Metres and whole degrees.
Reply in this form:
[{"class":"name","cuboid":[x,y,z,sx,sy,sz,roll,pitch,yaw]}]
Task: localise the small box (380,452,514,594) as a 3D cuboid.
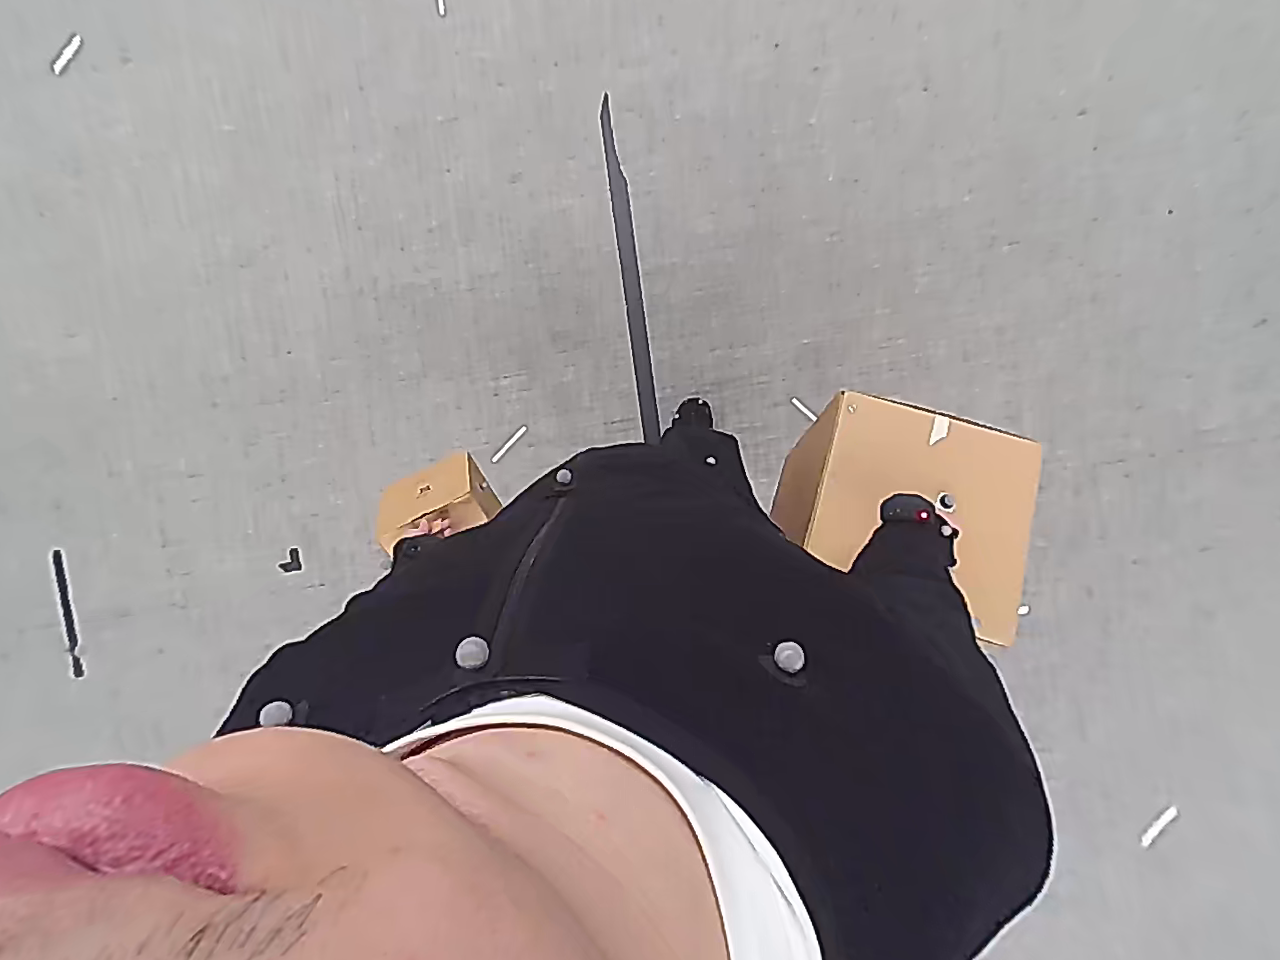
[{"class":"small box","cuboid":[-0.343,0.083,0.984,0.168,0.179,0.176,-26,122,-5]}]
